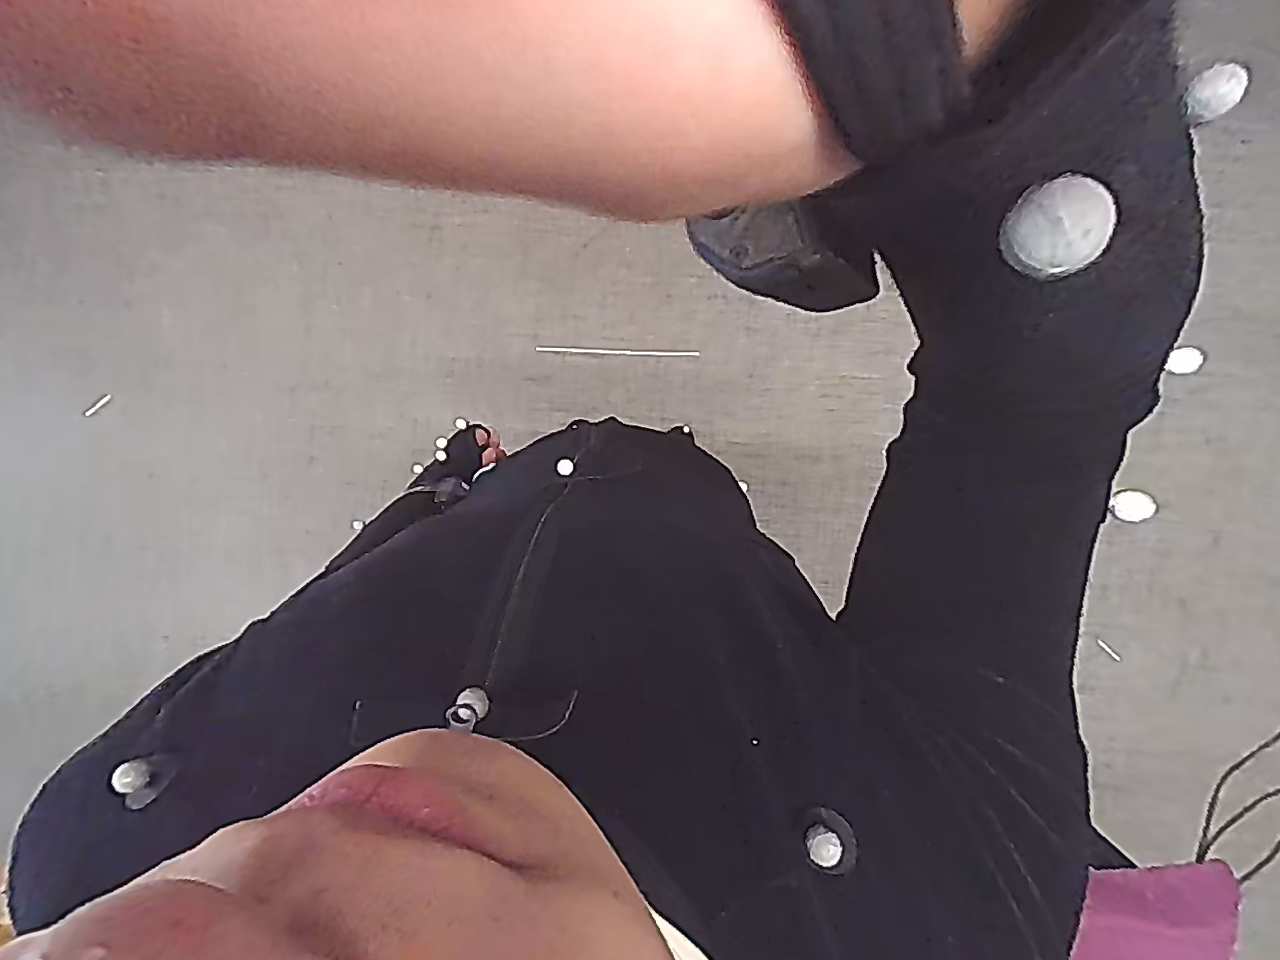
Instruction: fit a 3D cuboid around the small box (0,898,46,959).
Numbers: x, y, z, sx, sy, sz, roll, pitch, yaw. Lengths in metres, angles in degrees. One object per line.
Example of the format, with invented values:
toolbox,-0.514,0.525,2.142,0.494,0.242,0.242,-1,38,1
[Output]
small box,-1.524,1.091,1.223,0.179,0.176,0.168,4,93,-1
